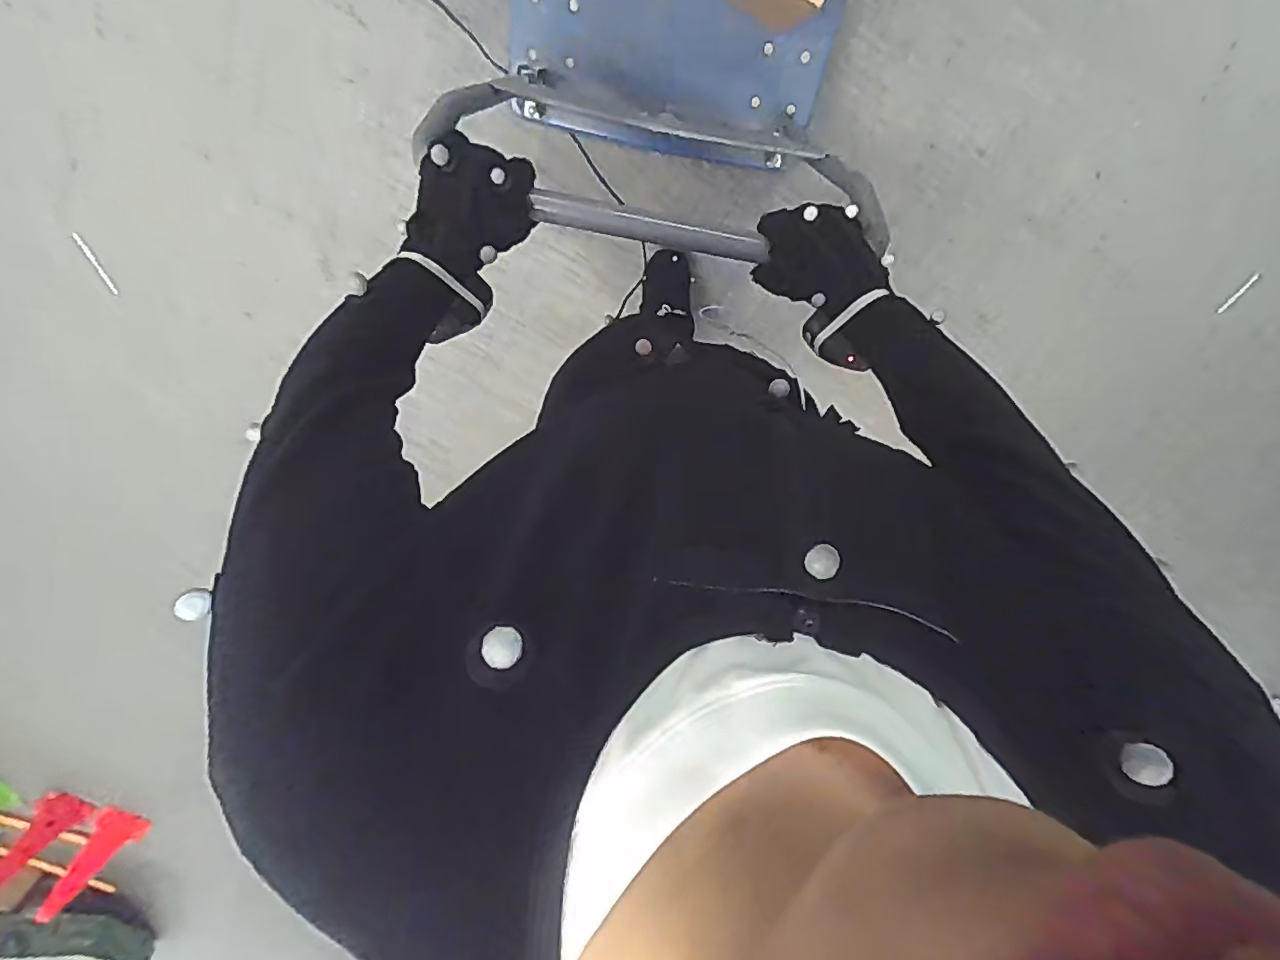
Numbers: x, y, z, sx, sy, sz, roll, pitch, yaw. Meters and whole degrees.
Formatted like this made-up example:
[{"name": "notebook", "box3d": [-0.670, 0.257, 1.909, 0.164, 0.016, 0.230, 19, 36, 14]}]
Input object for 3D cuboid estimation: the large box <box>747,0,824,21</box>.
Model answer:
[{"name": "large box", "box3d": [0.134, -0.893, 0.707, 0.408, 0.320, 0.320, 23, 123, -13]}]
